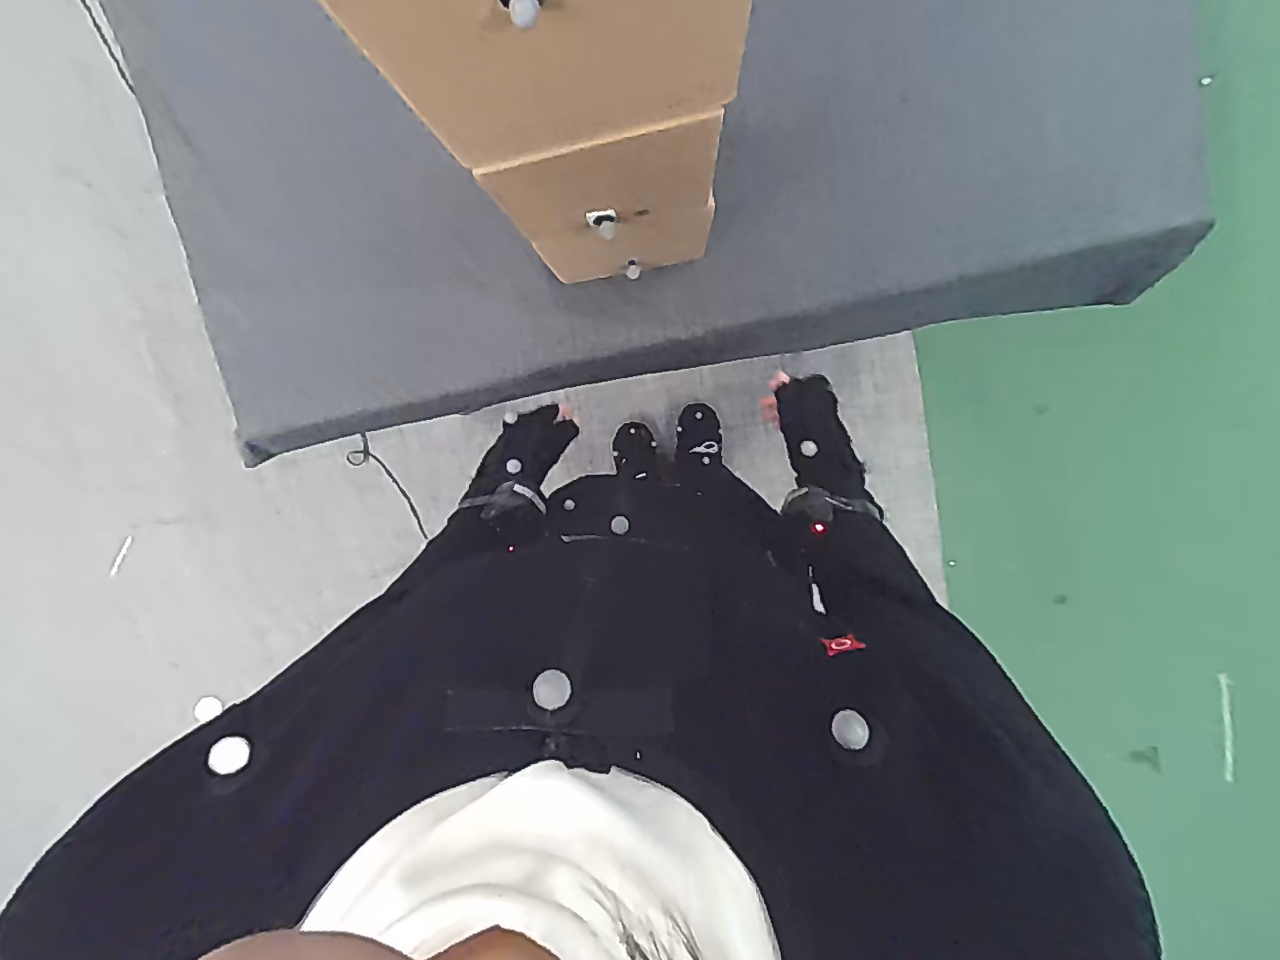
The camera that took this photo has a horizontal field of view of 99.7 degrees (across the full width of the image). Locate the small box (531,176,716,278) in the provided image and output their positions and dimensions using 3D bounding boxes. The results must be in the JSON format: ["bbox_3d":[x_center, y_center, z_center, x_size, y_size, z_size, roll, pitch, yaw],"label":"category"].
[{"bbox_3d":[-0.025,-0.330,0.573,0.179,0.176,0.168,-10,96,3],"label":"small box"}]

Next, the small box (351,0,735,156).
[{"bbox_3d":[-0.048,-0.291,0.266,0.179,0.176,0.168,-11,97,5],"label":"small box"}]

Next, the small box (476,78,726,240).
[{"bbox_3d":[-0.037,-0.312,0.412,0.168,0.176,0.179,-11,98,6],"label":"small box"}]
